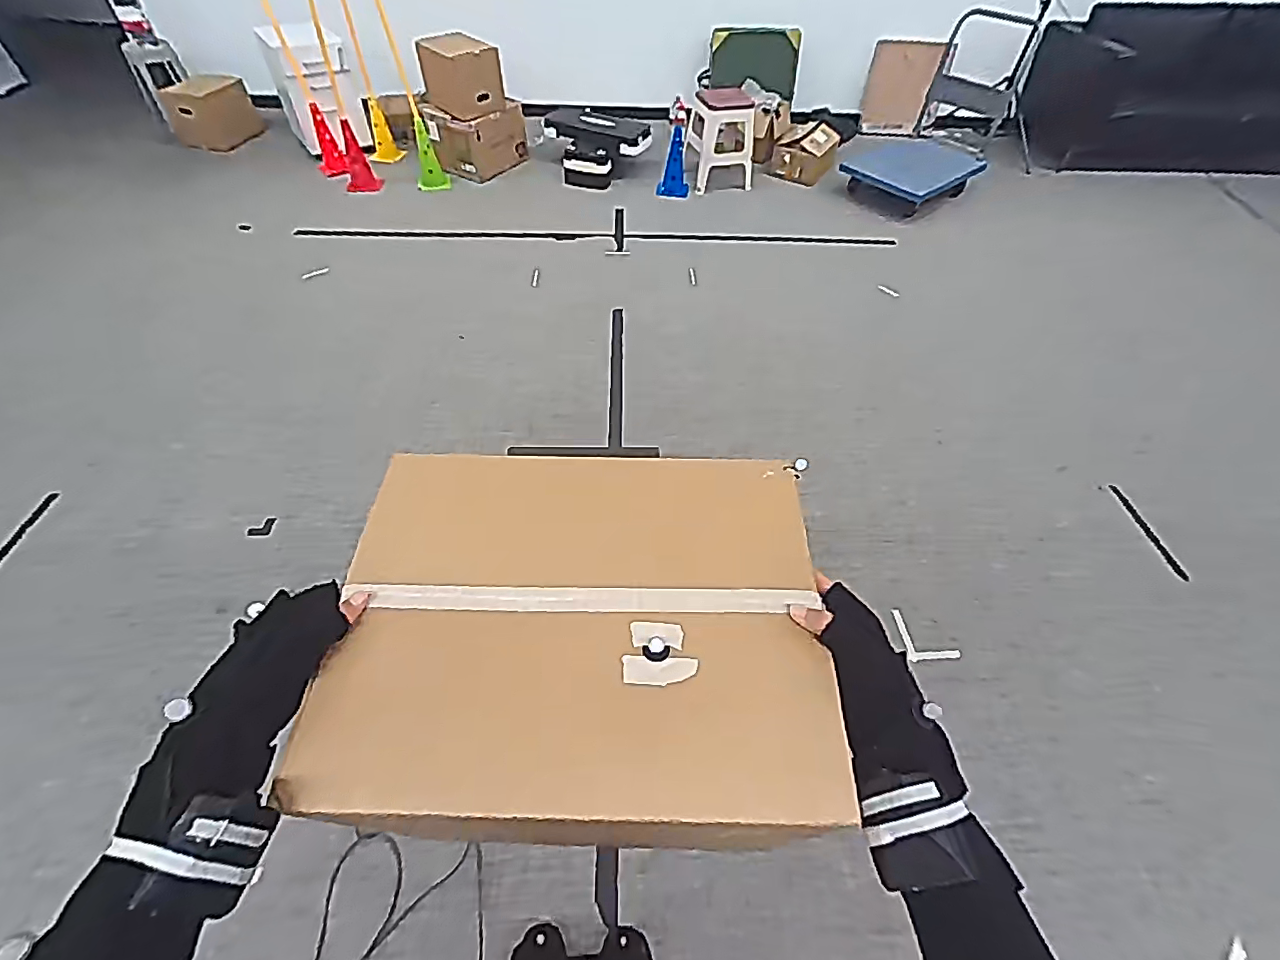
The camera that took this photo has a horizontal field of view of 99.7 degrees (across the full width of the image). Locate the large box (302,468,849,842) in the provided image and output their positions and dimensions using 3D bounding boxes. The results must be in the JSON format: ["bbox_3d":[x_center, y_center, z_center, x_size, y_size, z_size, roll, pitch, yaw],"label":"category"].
[{"bbox_3d":[-0.046,0.201,0.594,0.408,0.320,0.320,1,53,1],"label":"large box"}]
